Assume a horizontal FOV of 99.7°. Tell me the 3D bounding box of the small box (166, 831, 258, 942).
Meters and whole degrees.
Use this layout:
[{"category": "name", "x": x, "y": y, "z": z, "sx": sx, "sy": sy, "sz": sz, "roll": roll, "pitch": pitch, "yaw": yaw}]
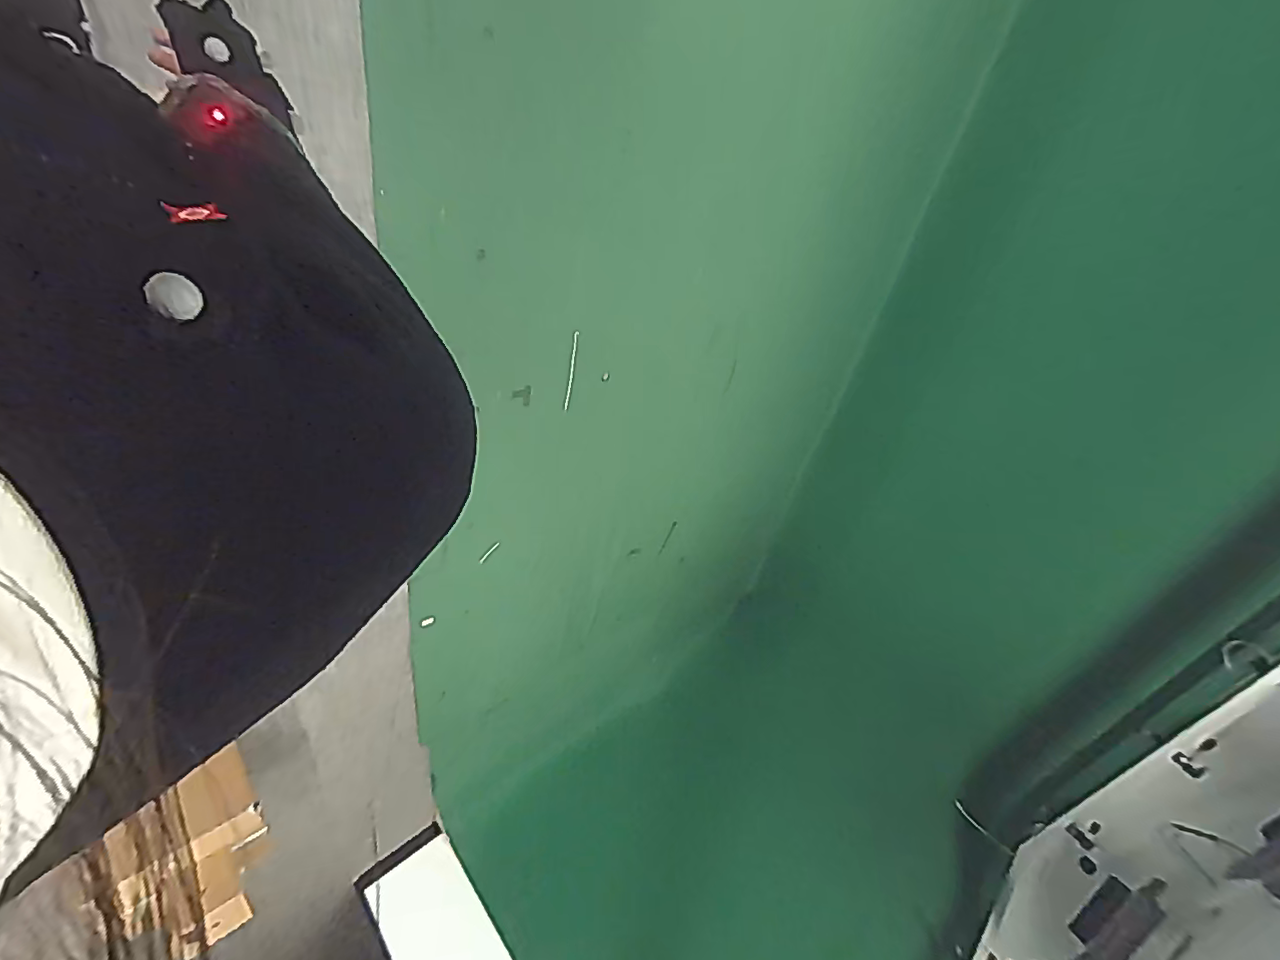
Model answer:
[{"category": "small box", "x": -1.294, "y": 1.220, "z": 1.632, "sx": 0.179, "sy": 0.176, "sz": 0.168, "roll": -22, "pitch": 132, "yaw": -38}]
